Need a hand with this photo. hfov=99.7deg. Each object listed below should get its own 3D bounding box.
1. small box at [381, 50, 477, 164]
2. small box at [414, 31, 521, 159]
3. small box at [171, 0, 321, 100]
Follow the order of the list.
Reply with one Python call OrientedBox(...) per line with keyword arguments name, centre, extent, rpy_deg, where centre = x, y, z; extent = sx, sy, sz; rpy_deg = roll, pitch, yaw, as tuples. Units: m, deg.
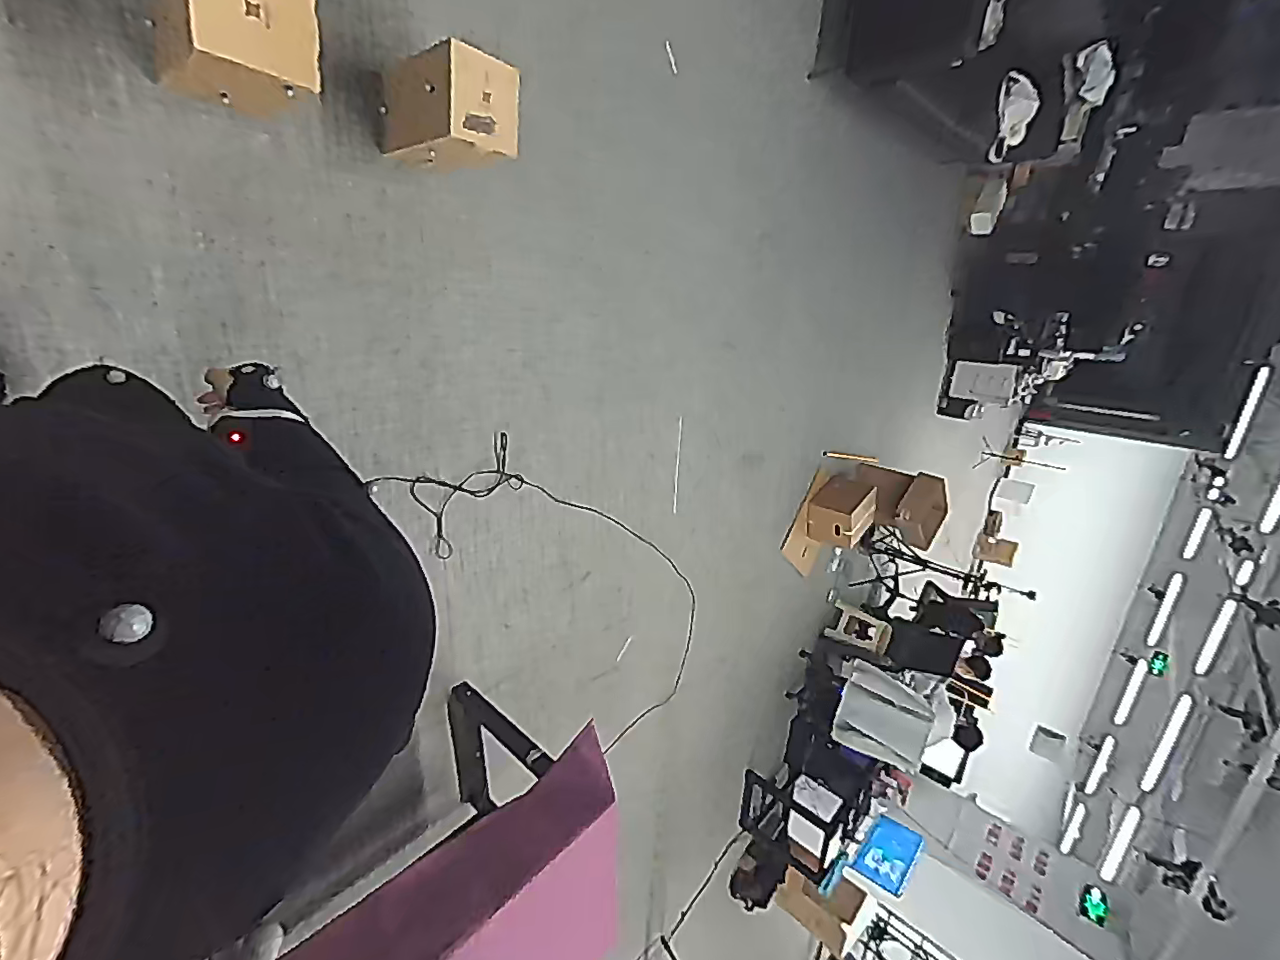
OrientedBox(name="small box", centre=(-0.500, -0.874, 1.289), extent=(0.168, 0.176, 0.179), rpy_deg=(-14, 116, -46))
OrientedBox(name="small box", centre=(-0.380, -0.826, 1.185), extent=(0.168, 0.176, 0.179), rpy_deg=(-12, 113, -47))
OrientedBox(name="small box", centre=(-0.655, -0.761, 0.894), extent=(0.179, 0.176, 0.168), rpy_deg=(-12, 113, -46))
